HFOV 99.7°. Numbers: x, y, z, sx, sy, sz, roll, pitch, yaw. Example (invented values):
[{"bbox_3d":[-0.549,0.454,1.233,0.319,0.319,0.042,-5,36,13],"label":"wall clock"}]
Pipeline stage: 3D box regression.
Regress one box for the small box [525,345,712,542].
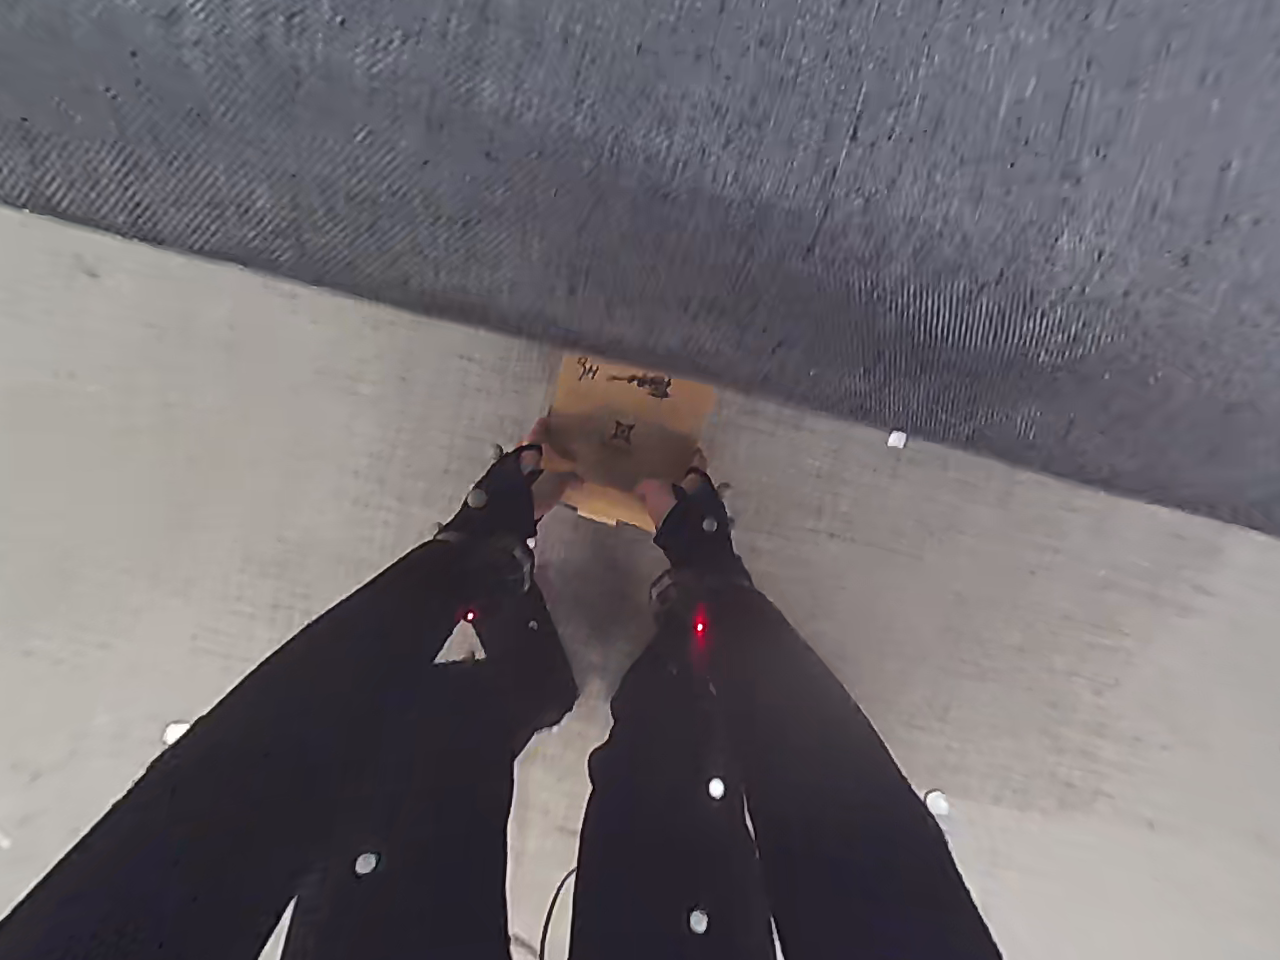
[{"bbox_3d":[-0.022,-0.045,0.651,0.168,0.176,0.179,16,95,-1],"label":"small box"}]
